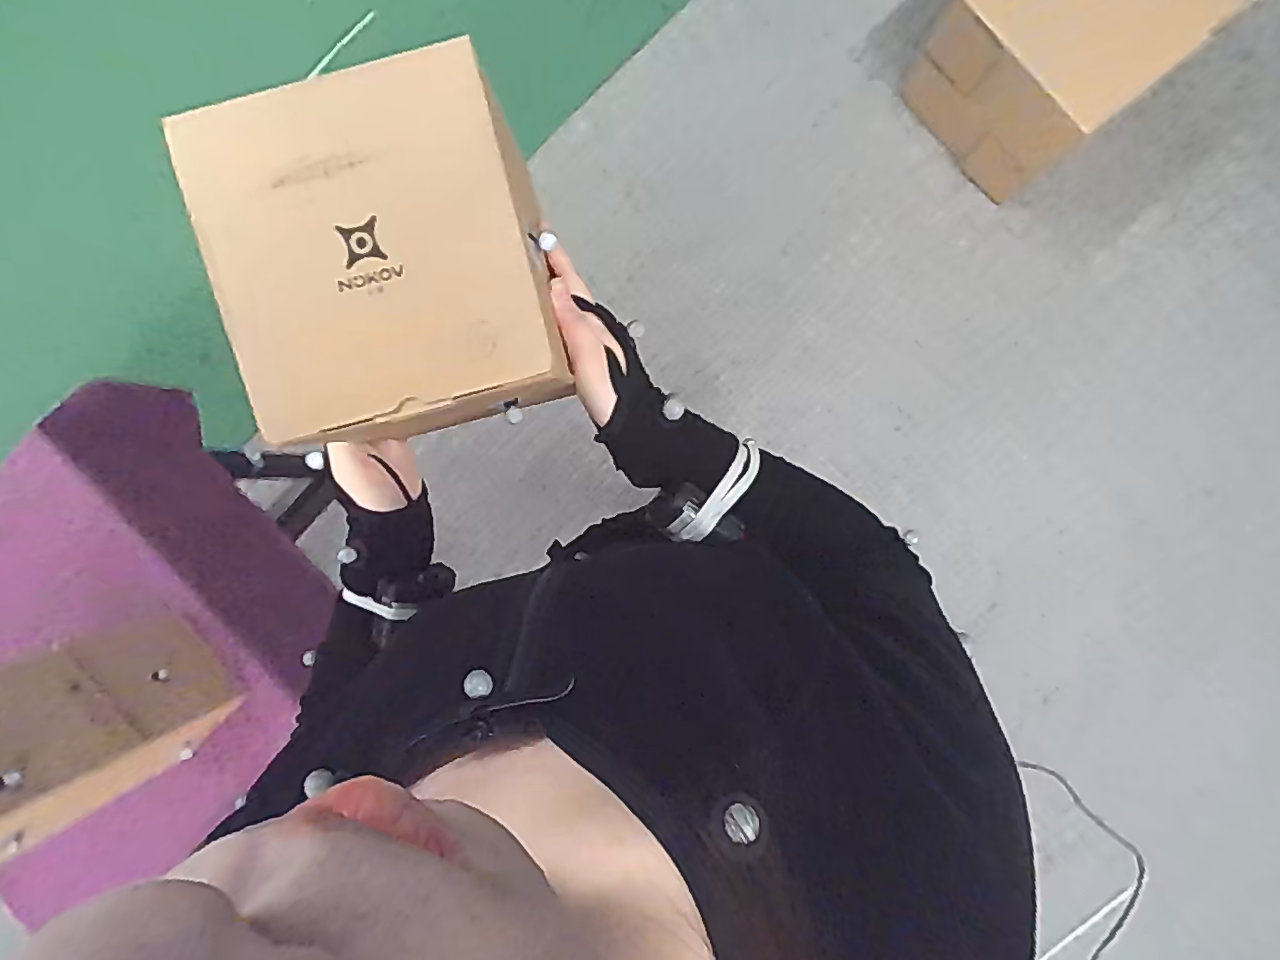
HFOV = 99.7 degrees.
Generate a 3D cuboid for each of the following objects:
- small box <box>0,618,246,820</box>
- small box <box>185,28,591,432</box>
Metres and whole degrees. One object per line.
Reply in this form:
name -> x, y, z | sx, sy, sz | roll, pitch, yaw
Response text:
small box -> -0.726, 0.317, 0.766 | 0.168, 0.176, 0.179 | -43, 88, 5
small box -> -0.134, -0.136, 0.361 | 0.168, 0.176, 0.179 | -12, 97, 1
